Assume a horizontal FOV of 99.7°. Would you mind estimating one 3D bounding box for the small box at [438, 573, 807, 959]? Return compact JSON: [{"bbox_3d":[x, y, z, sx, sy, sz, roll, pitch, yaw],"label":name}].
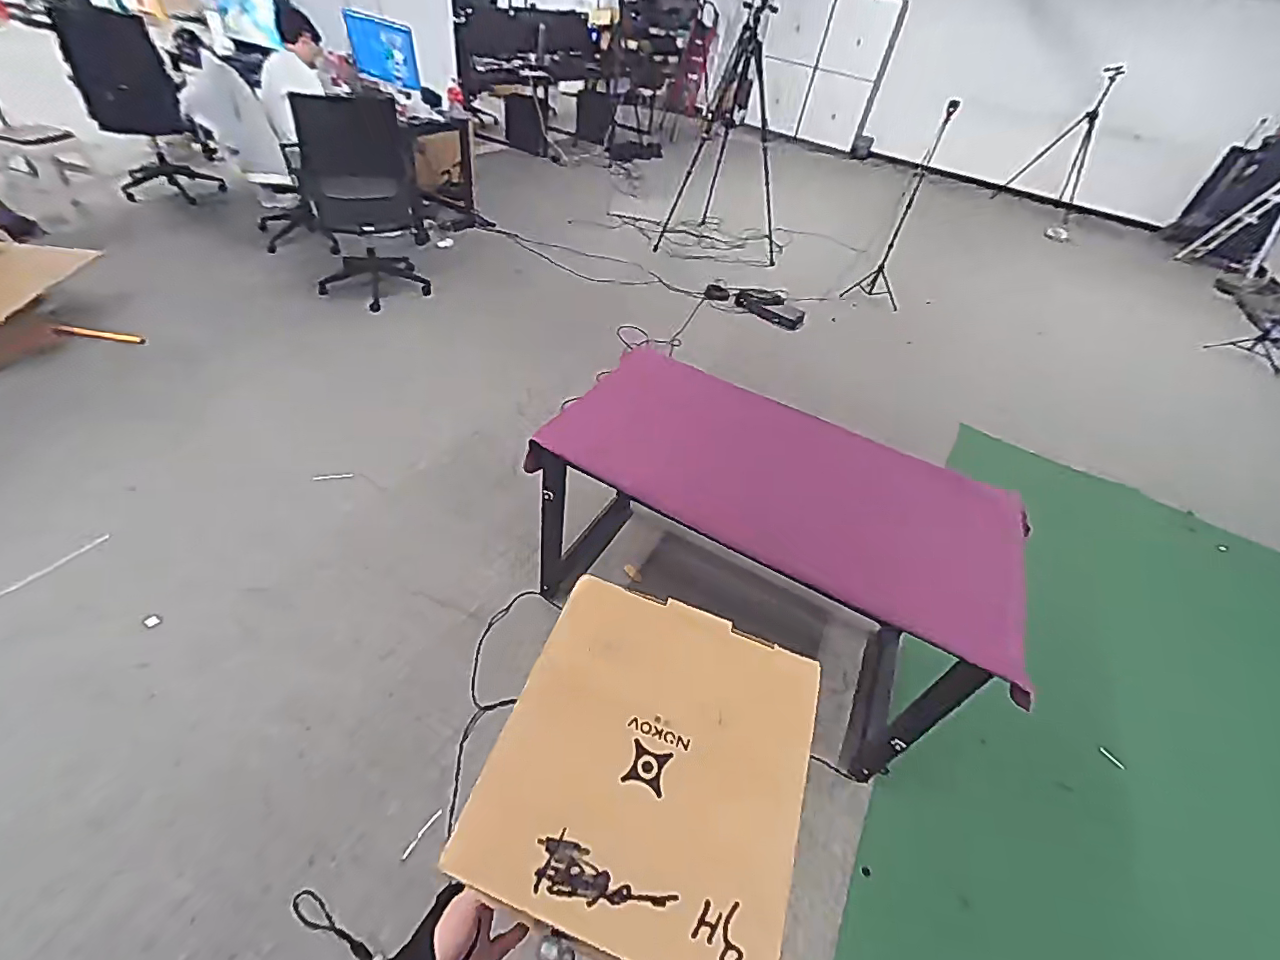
[{"bbox_3d":[-0.005,0.200,0.366,0.168,0.176,0.179,19,51,9],"label":"small box"}]
